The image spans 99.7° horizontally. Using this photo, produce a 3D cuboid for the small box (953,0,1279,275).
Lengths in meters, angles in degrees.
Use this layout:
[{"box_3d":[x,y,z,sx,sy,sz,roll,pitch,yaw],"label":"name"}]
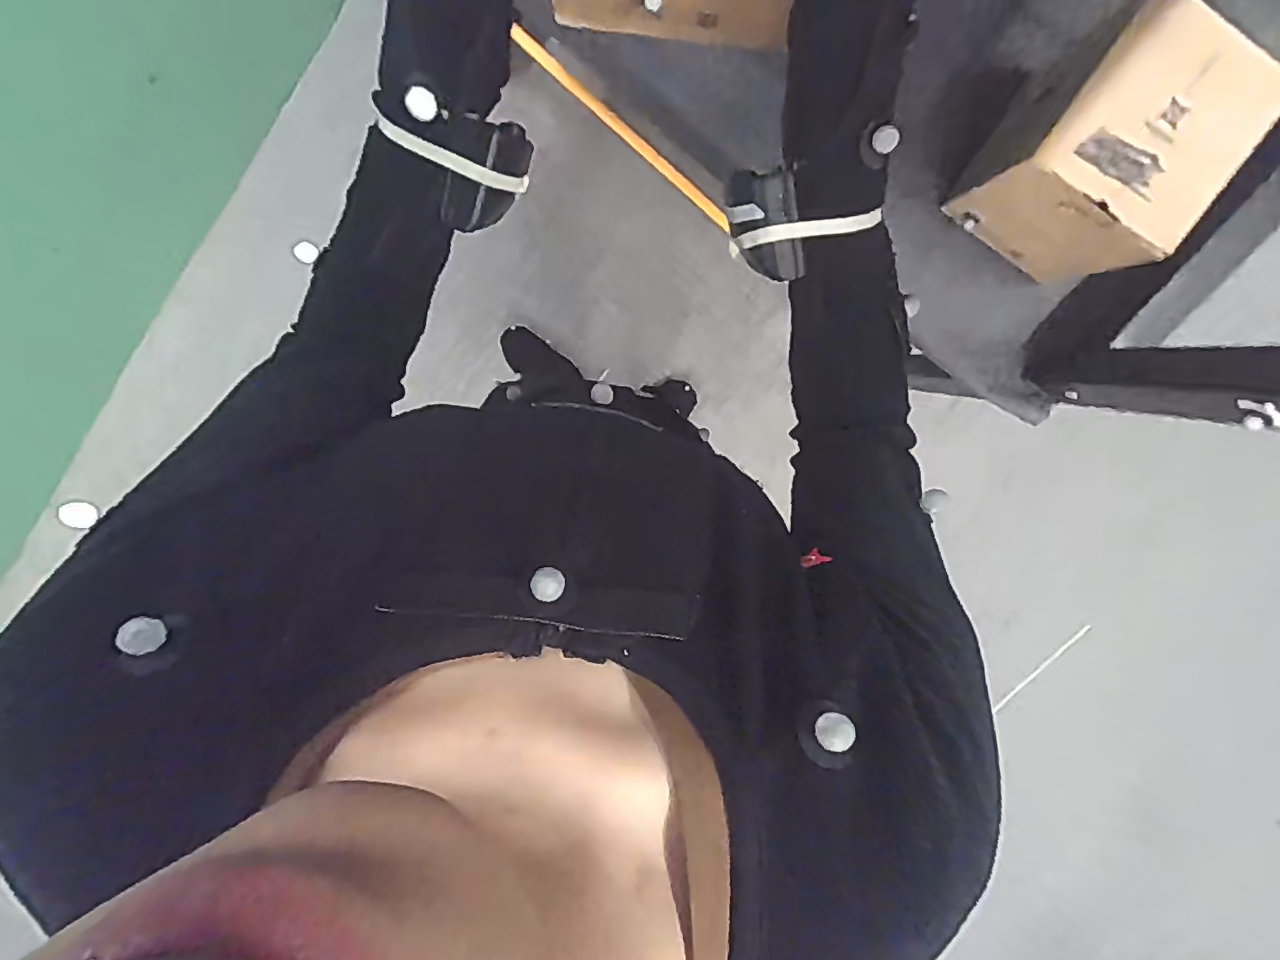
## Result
[{"box_3d":[0.477,-0.346,0.578,0.168,0.176,0.179,33,100,-6],"label":"small box"}]
